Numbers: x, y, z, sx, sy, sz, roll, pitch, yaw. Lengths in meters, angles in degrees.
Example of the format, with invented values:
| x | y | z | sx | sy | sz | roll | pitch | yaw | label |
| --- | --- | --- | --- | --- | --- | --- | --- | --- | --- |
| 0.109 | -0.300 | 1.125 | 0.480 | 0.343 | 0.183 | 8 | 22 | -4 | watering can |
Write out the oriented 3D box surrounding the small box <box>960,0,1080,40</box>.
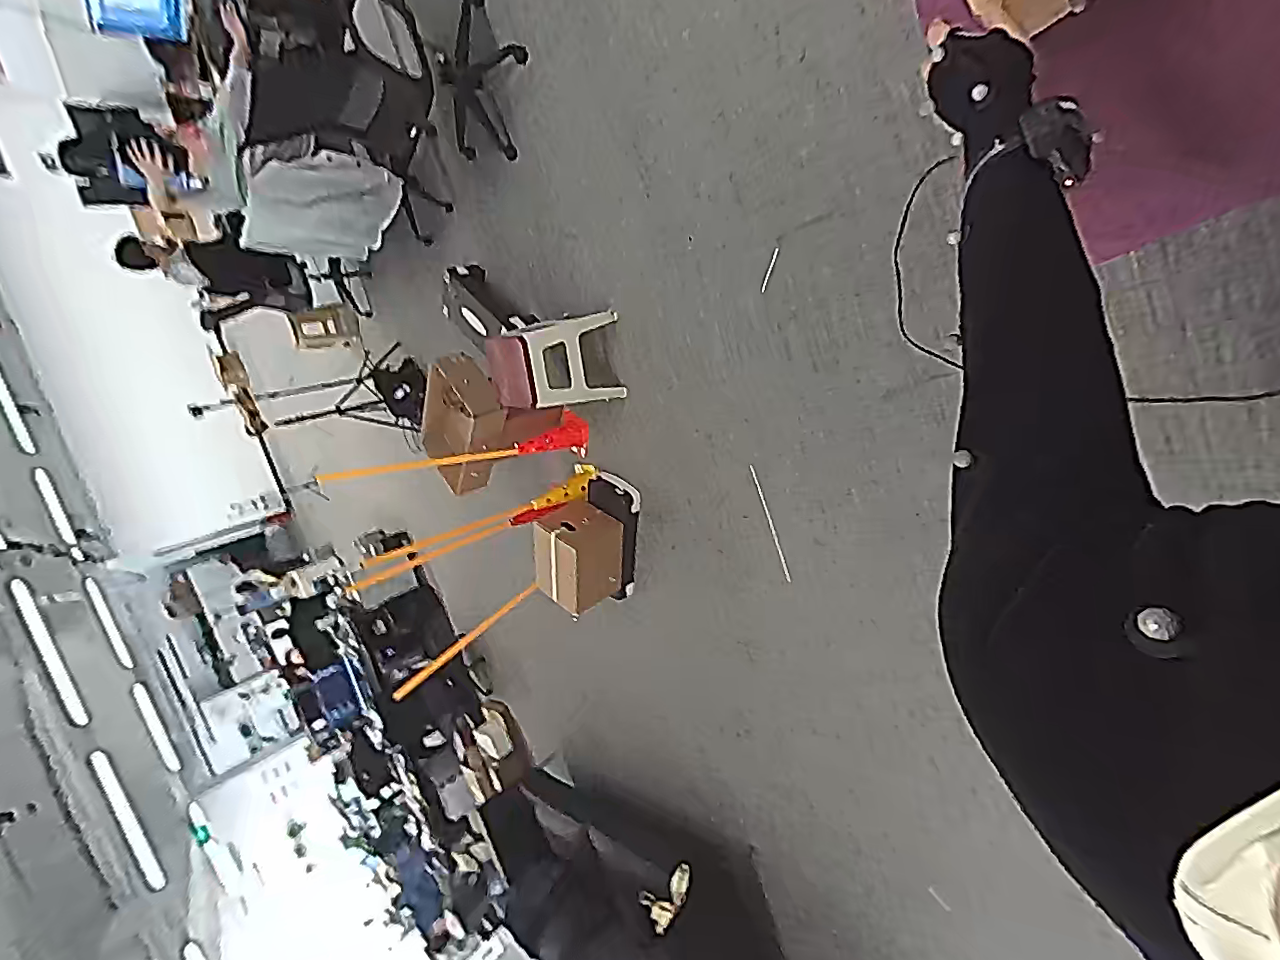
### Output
| x | y | z | sx | sy | sz | roll | pitch | yaw | label |
| --- | --- | --- | --- | --- | --- | --- | --- | --- | --- |
| 0.408 | -0.590 | 0.534 | 0.168 | 0.176 | 0.179 | -17 | 96 | 51 | small box |
